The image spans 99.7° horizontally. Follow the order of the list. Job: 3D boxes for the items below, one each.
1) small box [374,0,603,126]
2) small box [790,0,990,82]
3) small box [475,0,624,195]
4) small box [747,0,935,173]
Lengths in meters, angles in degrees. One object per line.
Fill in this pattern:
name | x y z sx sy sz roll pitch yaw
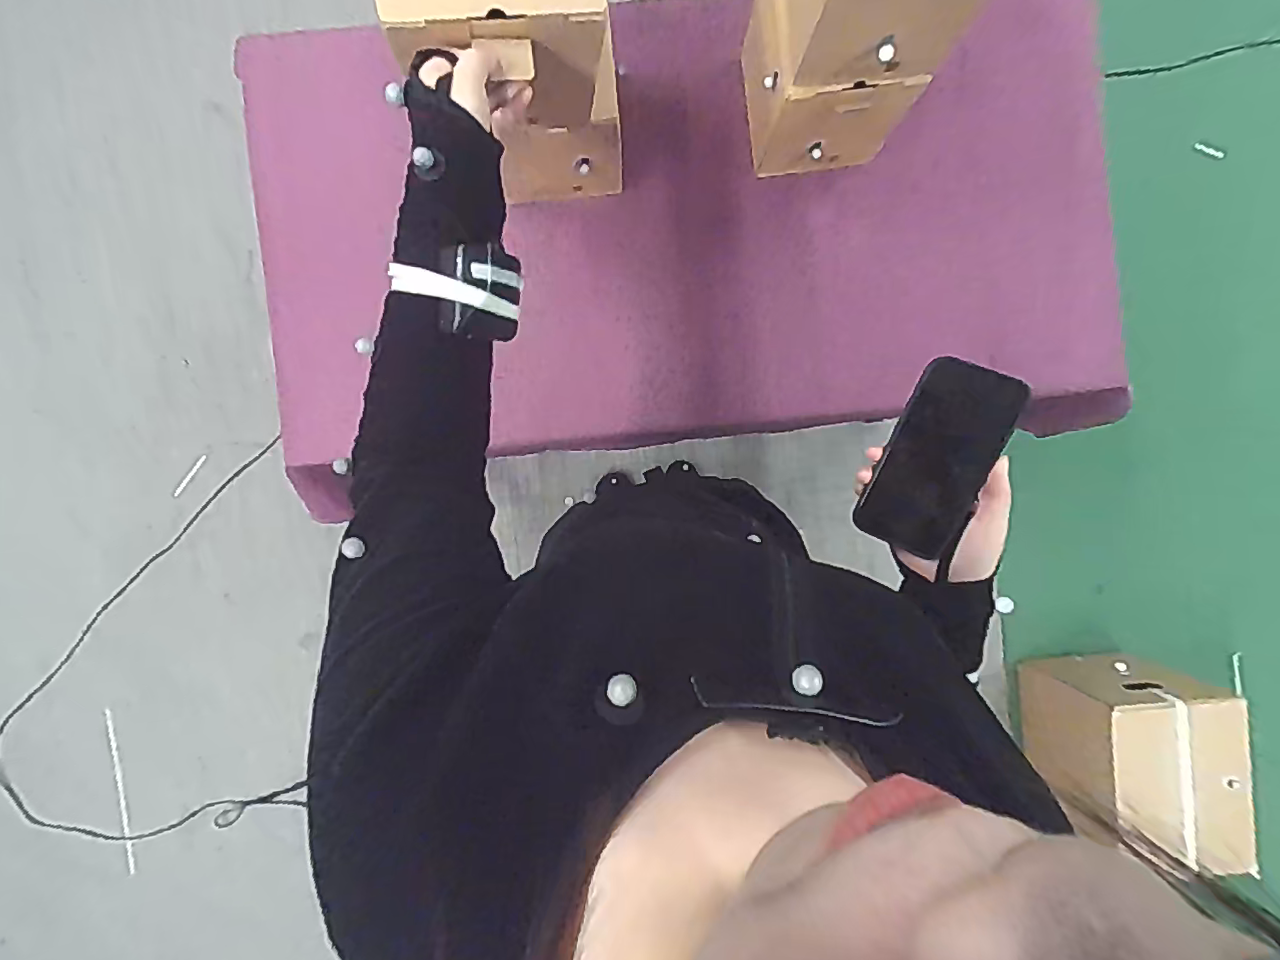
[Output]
small box | -0.128 -0.424 0.456 0.168 0.176 0.179 -9 102 -8
small box | 0.243 -0.529 0.514 0.168 0.176 0.179 -5 92 0
small box | -0.110 -0.481 0.681 0.168 0.176 0.179 -5 91 -1
small box | 0.238 -0.525 0.680 0.168 0.176 0.179 -7 92 0
